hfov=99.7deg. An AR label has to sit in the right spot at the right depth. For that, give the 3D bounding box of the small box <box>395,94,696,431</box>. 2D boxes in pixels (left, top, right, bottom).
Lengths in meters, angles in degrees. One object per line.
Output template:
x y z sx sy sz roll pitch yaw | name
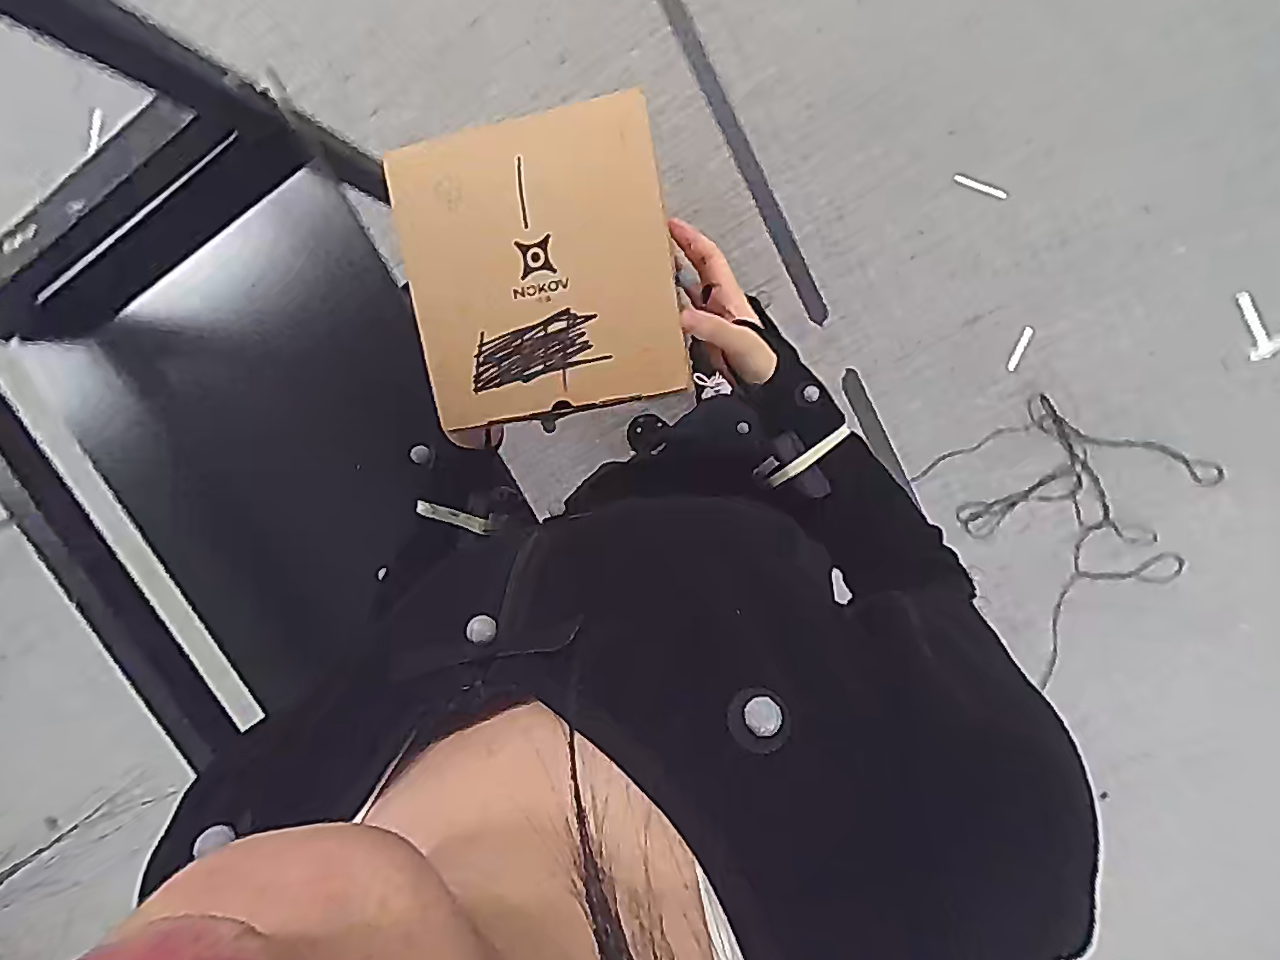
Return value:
-0.049 -0.139 0.409 0.168 0.176 0.179 -8 98 7 | small box
